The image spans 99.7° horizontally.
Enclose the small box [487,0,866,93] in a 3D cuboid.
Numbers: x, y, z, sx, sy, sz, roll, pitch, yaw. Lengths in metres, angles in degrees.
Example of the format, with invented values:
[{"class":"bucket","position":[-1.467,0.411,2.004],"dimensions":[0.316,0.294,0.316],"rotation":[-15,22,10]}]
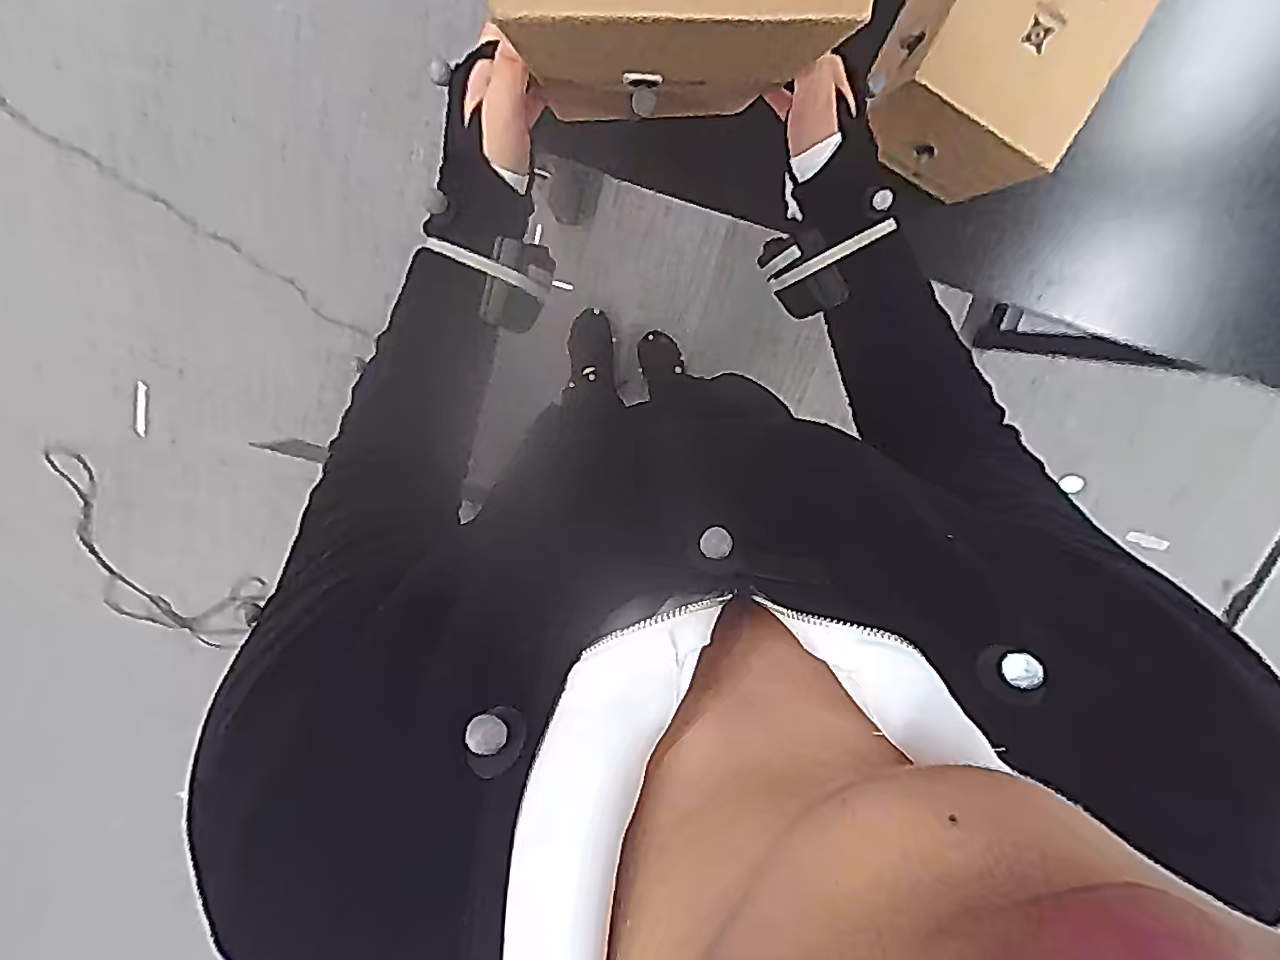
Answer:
[{"class":"small box","position":[0.013,-0.311,0.265],"dimensions":[0.168,0.176,0.179],"rotation":[-1,118,0]}]

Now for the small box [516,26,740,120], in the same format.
[{"class":"small box","position":[0.002,-0.386,0.410],"dimensions":[0.179,0.176,0.168],"rotation":[-3,116,1]}]

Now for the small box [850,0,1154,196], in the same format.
[{"class":"small box","position":[0.347,-0.425,0.556],"dimensions":[0.168,0.176,0.179],"rotation":[25,104,-11]}]
